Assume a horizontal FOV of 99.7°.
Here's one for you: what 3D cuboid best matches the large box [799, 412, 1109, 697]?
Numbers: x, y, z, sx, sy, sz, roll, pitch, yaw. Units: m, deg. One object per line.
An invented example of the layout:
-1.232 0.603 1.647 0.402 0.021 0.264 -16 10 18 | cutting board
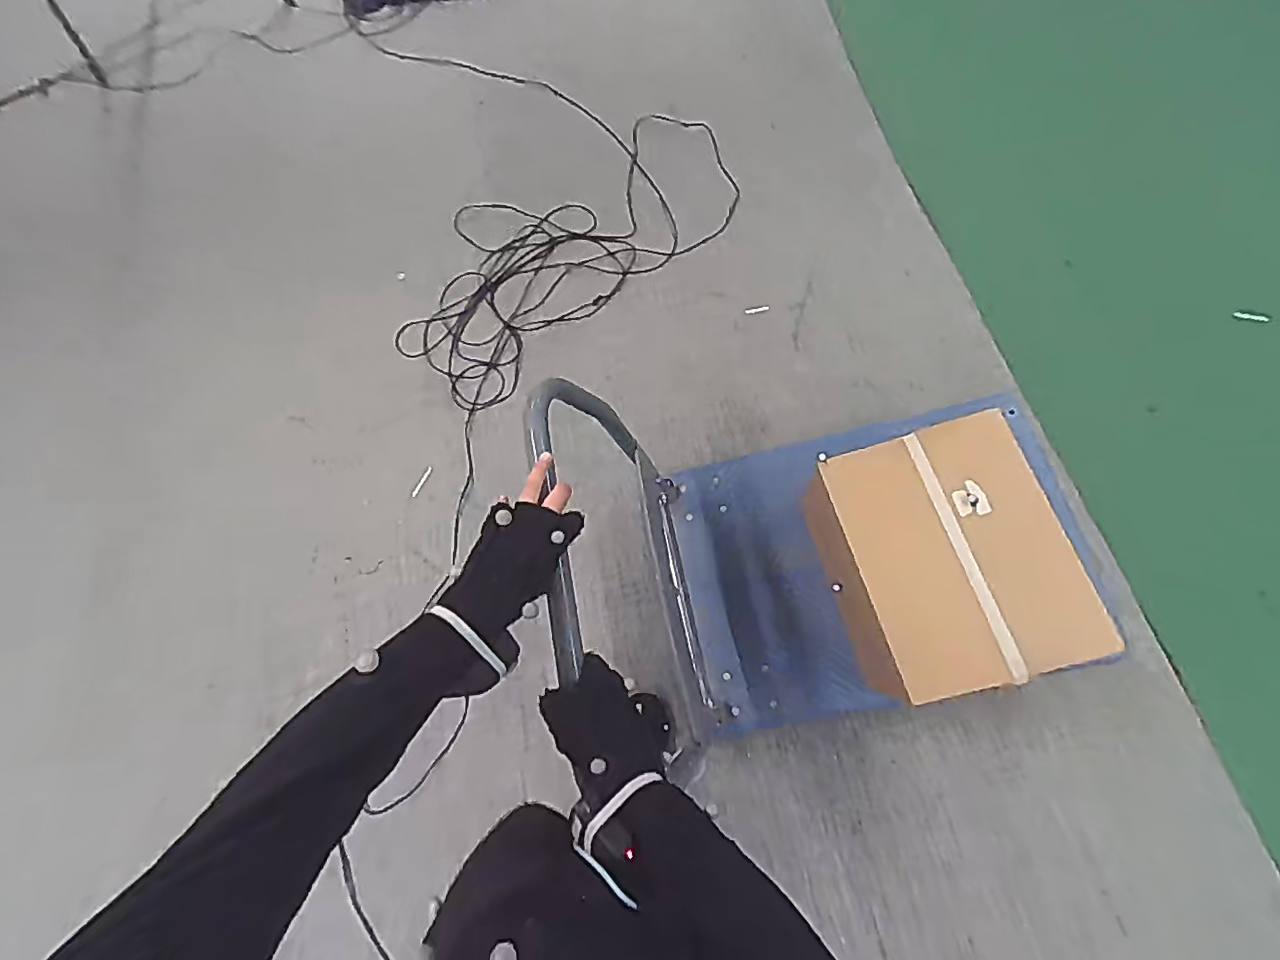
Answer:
0.526 0.149 1.014 0.320 0.320 0.408 -18 71 5 | large box
